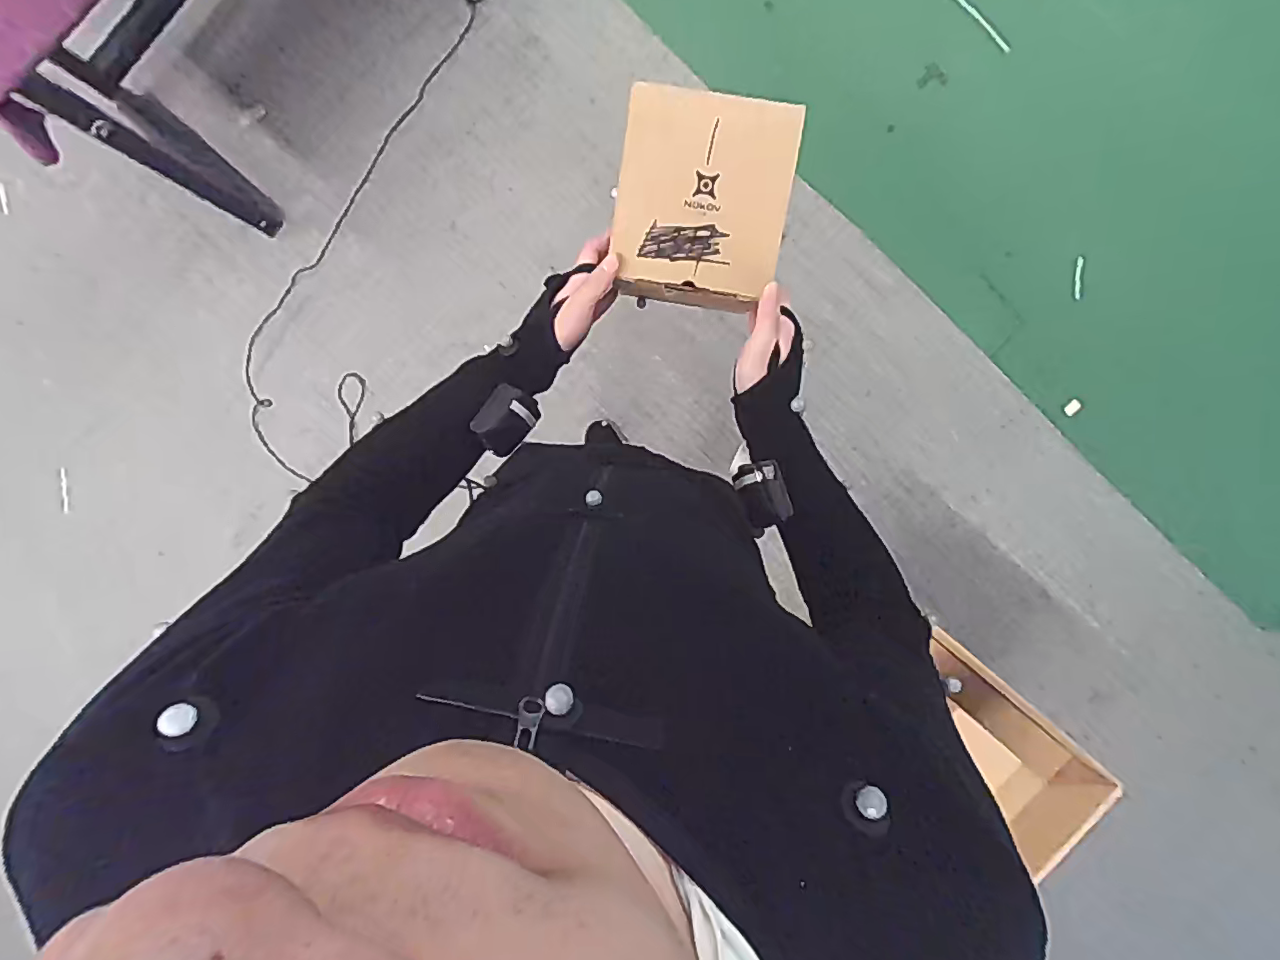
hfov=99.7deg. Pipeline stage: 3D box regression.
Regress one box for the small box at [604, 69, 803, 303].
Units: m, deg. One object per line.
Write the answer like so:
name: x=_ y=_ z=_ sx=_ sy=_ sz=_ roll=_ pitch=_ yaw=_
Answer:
small box: x=0.060 y=-0.297 z=0.588 sx=0.168 sy=0.176 sz=0.179 roll=8 pitch=102 yaw=-1
